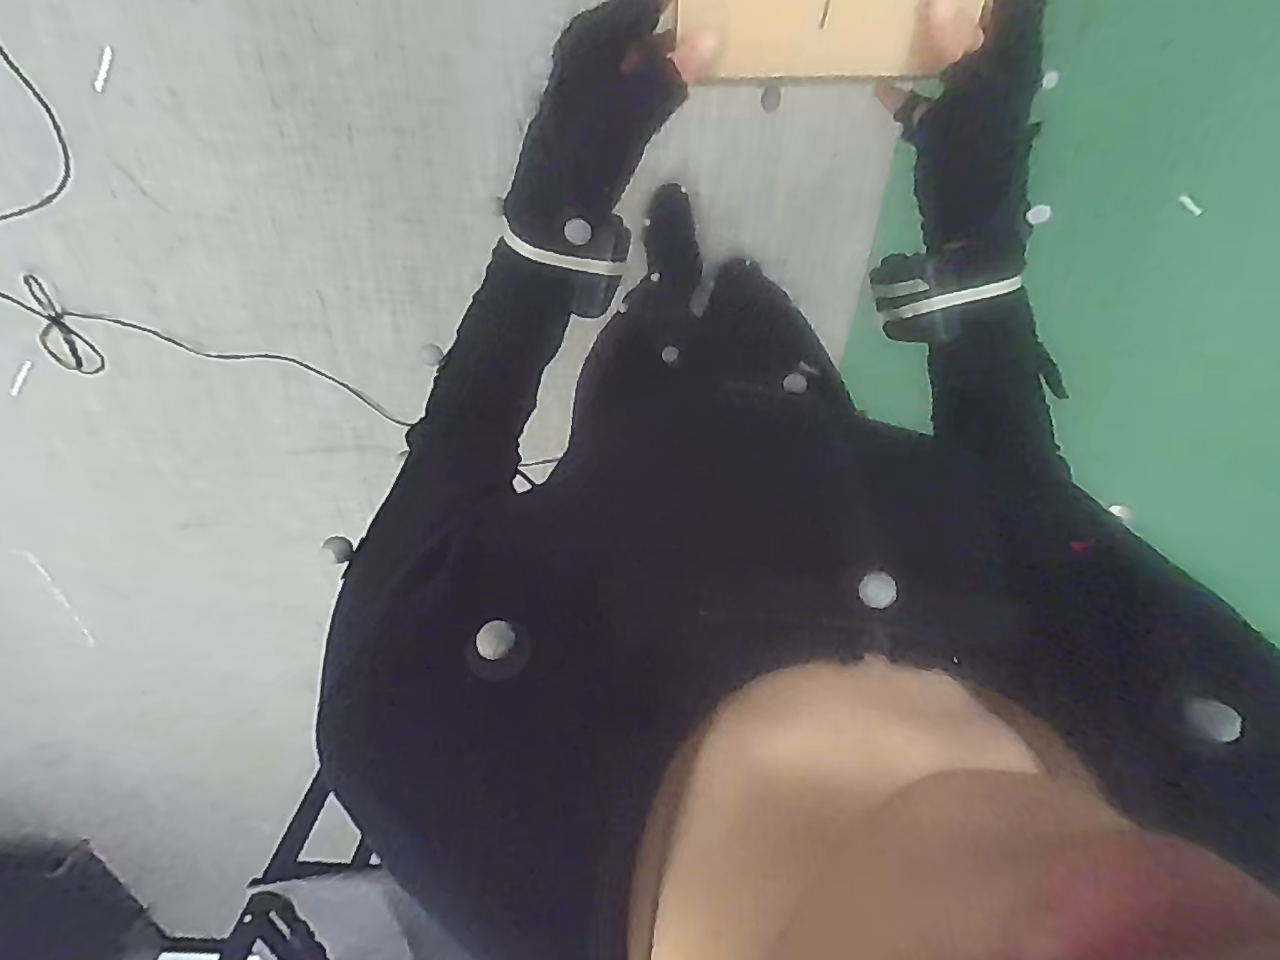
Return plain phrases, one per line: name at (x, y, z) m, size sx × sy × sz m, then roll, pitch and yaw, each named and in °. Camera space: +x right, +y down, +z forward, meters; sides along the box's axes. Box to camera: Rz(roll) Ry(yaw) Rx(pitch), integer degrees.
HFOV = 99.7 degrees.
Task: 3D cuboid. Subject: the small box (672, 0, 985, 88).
small box at (0.106, -0.349, 0.327) m, size 0.168 × 0.176 × 0.179 m, roll 1°, pitch 125°, yaw 1°
